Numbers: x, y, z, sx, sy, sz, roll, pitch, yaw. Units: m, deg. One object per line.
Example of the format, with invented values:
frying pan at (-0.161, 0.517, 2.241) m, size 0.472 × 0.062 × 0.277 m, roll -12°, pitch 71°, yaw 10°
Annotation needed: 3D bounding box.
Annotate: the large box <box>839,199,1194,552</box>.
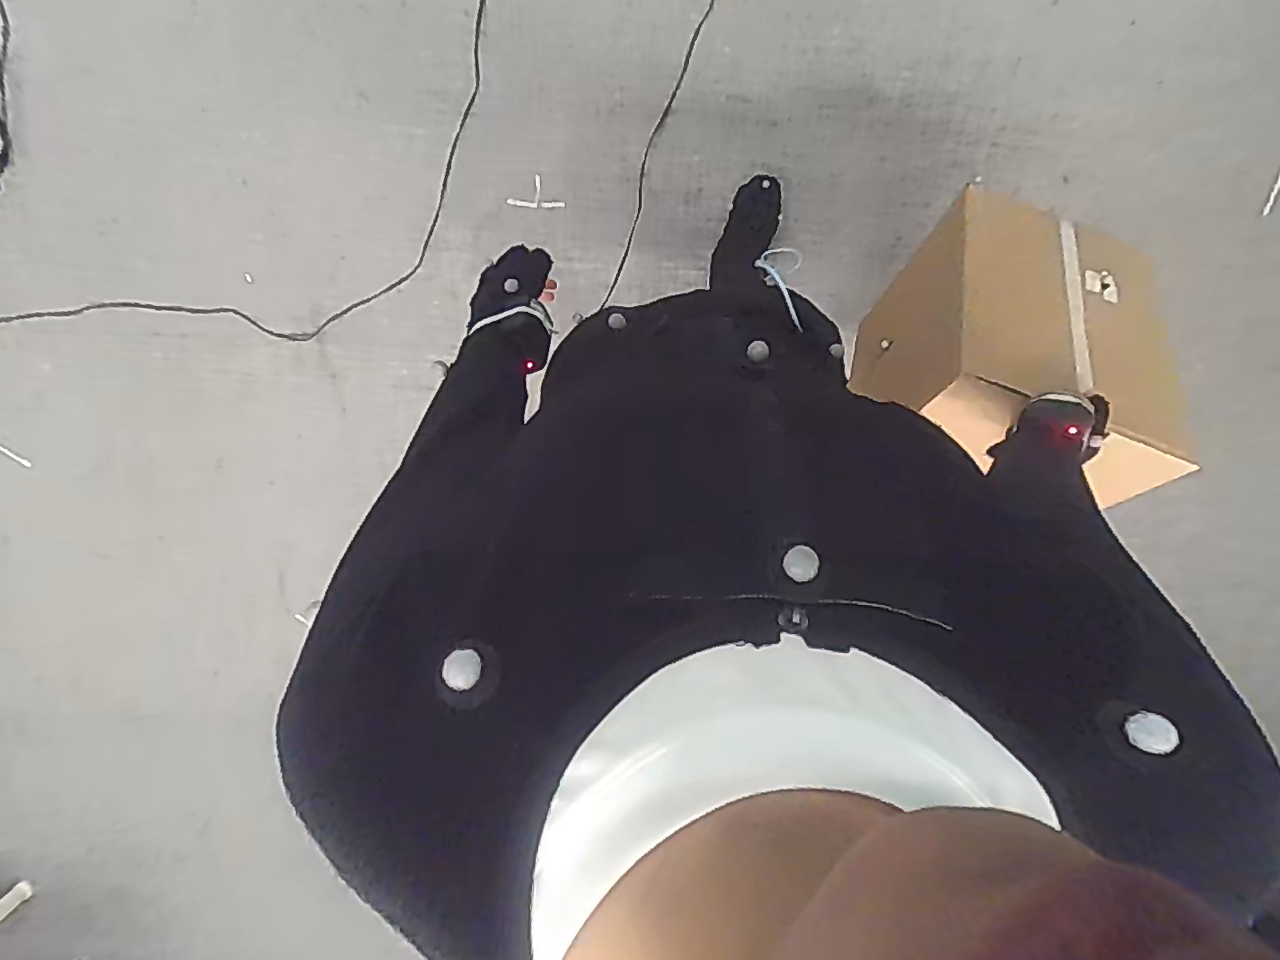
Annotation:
large box at (0.552, -0.154, 0.870) m, size 0.320 × 0.408 × 0.320 m, roll 21°, pitch 150°, yaw -1°
